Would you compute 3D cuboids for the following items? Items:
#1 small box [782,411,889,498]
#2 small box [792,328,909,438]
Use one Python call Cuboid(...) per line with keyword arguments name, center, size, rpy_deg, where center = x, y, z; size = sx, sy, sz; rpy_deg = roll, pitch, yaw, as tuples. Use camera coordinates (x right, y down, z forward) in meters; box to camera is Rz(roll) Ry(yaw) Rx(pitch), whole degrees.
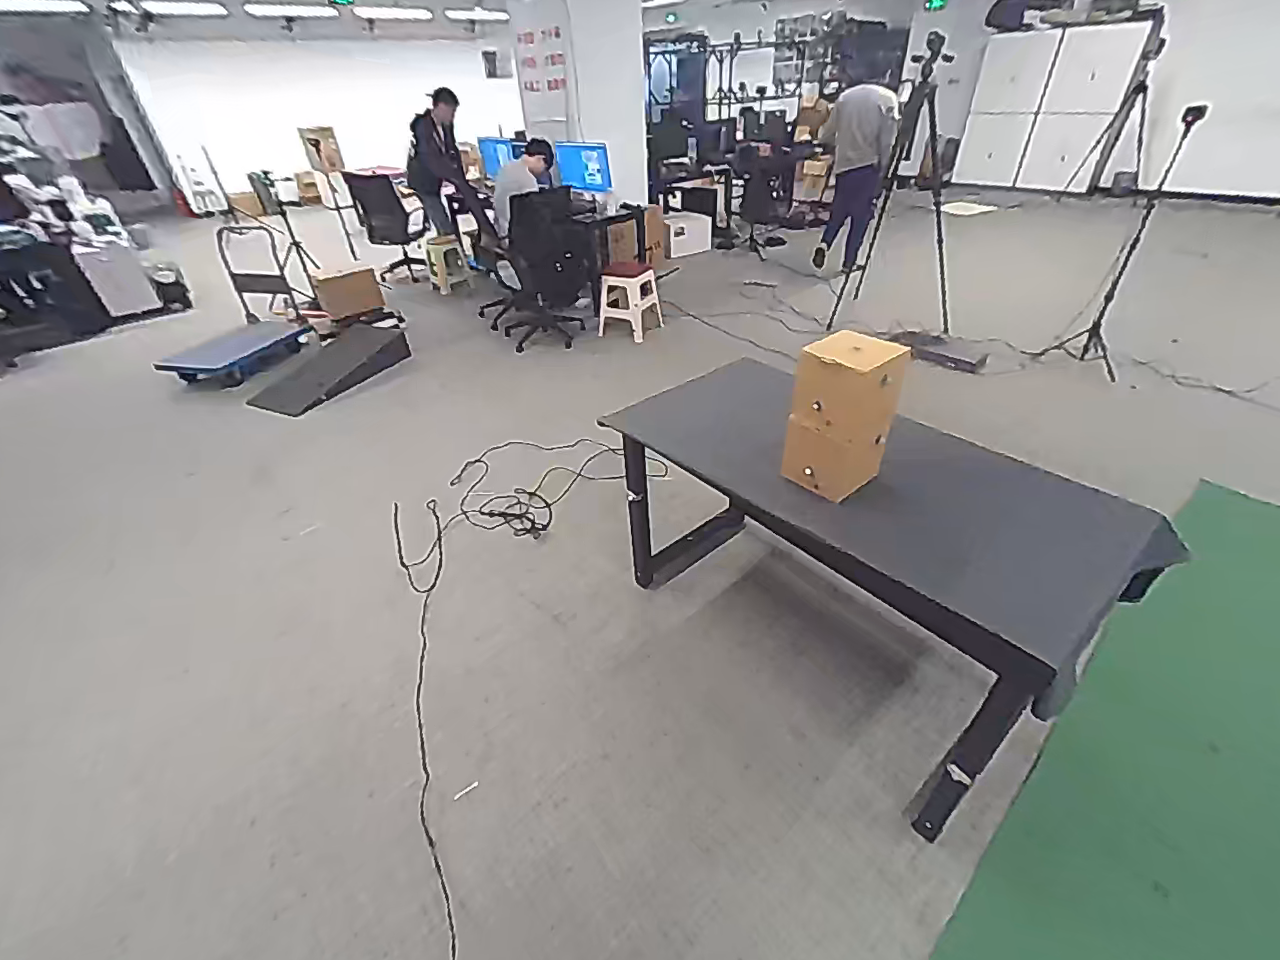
Cuboid(name="small box", center=(0.463, -0.085, 1.303), size=(0.179, 0.176, 0.168), rpy_deg=(-27, 42, -30))
Cuboid(name="small box", center=(0.462, -0.219, 1.211), size=(0.179, 0.176, 0.168), rpy_deg=(-27, 43, -30))
